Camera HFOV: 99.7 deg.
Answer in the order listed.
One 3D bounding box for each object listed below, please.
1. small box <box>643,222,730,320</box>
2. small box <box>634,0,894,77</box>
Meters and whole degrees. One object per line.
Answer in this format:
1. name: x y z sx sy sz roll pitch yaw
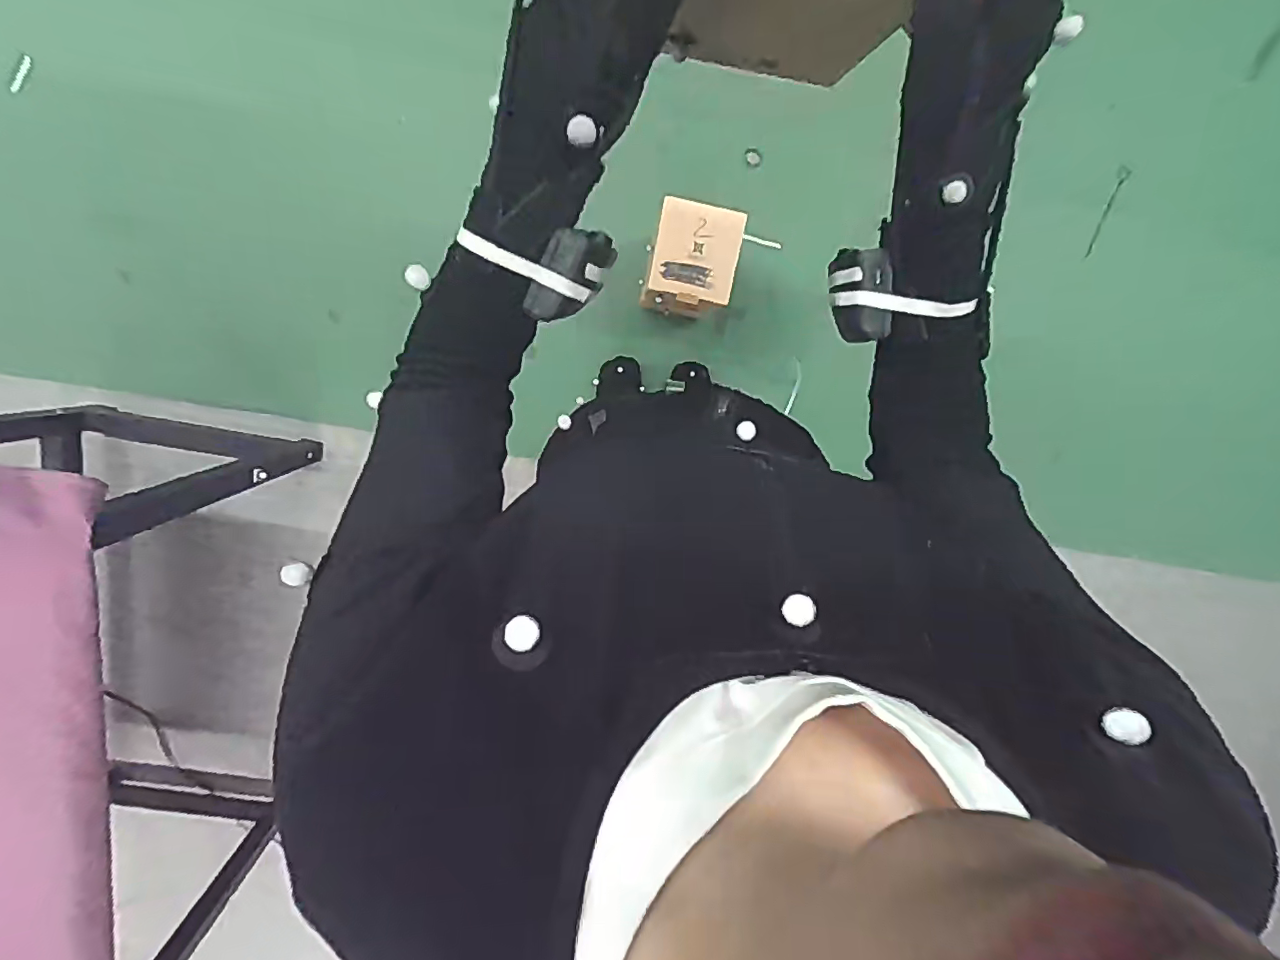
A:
1. small box: 0.103 -0.492 1.294 0.168 0.176 0.179 10 103 -5
2. small box: 0.091 -0.386 0.327 0.168 0.176 0.179 5 105 -10
